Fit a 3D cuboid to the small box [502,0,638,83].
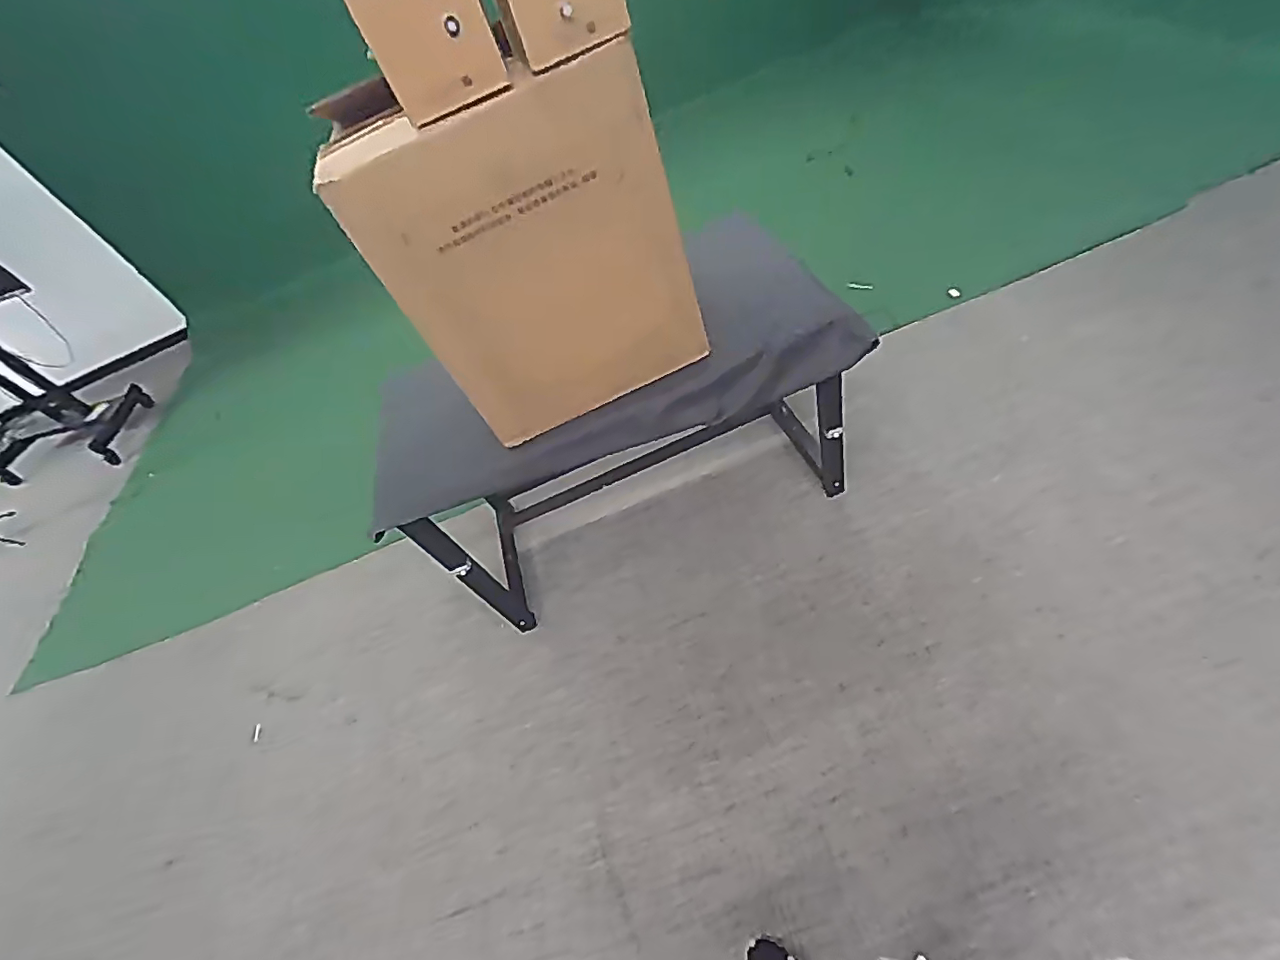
[{"bbox_3d":[-0.120,-0.735,0.816,0.168,0.176,0.179,-25,49,0],"label":"small box"}]
